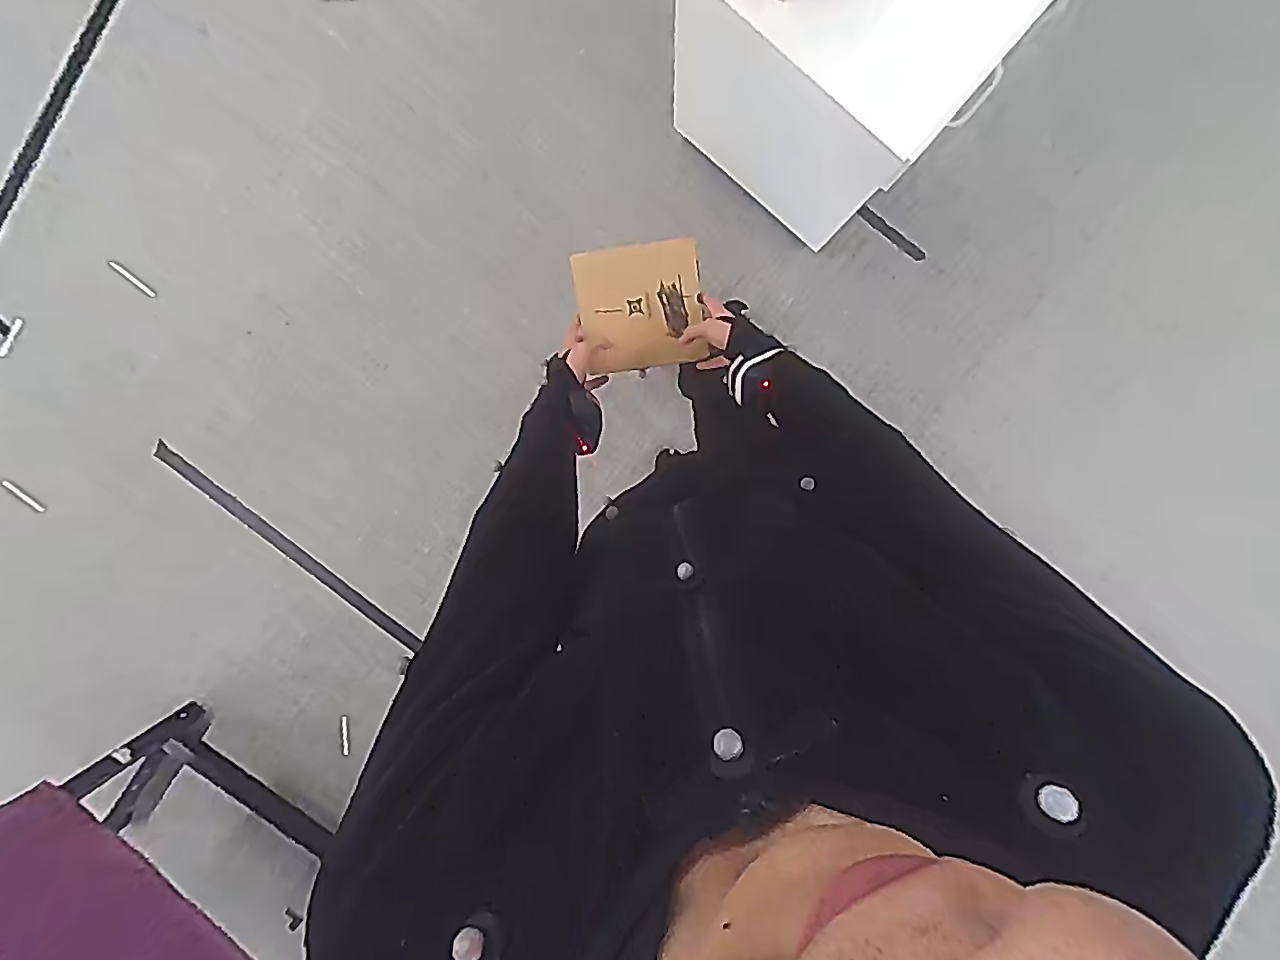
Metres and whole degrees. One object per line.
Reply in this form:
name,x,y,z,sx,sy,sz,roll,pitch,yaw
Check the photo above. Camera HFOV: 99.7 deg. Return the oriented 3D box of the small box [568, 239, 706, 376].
small box,-0.006,-0.254,0.825,0.179,0.176,0.168,-8,101,0
